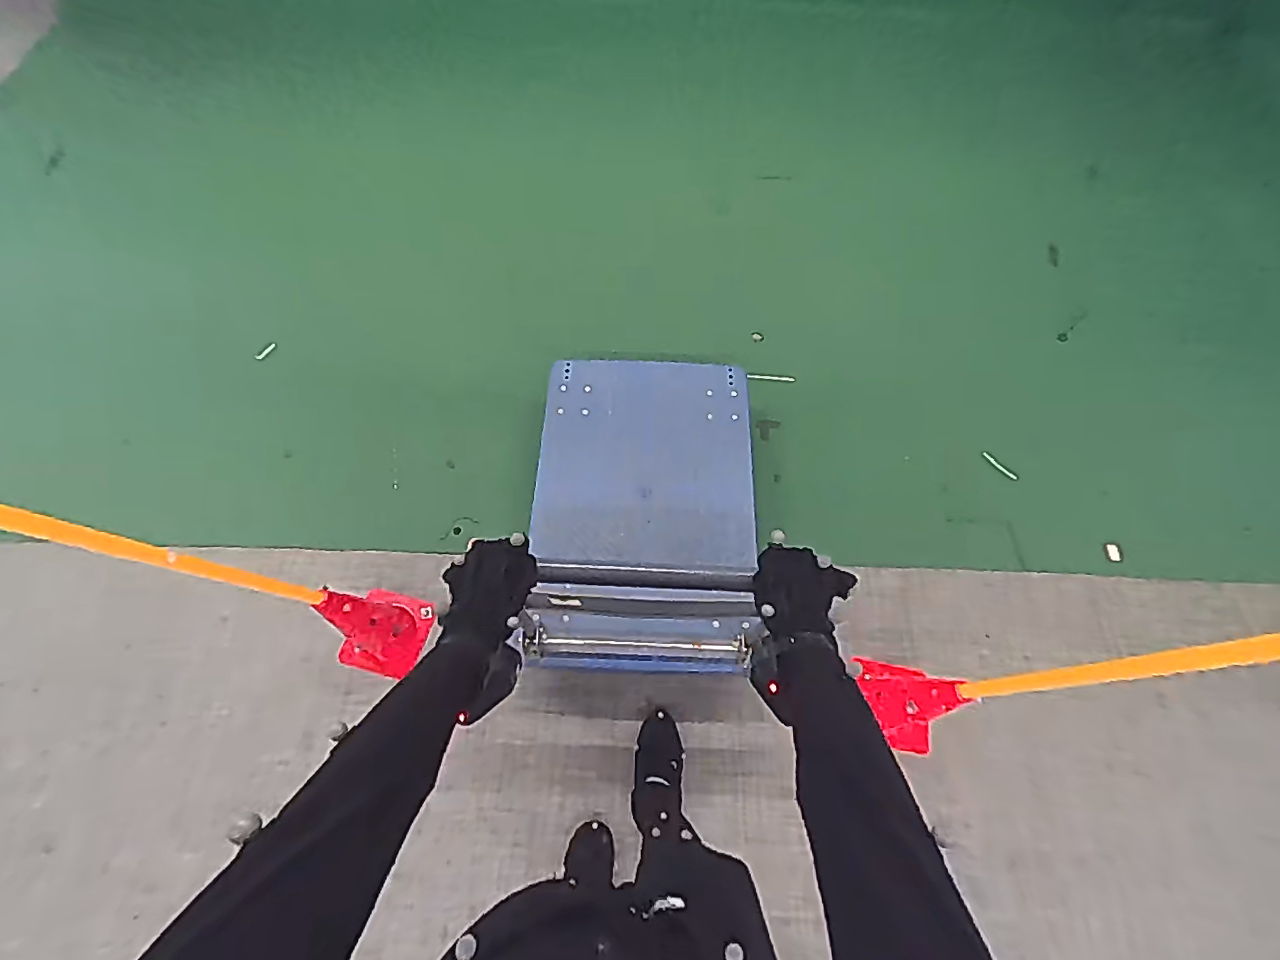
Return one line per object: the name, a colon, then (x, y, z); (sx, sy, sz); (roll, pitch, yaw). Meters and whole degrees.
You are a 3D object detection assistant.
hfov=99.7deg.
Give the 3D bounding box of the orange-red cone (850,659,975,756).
orange-red cone: (0.624, 0.485, 1.189); (0.198, 0.360, 0.199); (11, 65, 6)
